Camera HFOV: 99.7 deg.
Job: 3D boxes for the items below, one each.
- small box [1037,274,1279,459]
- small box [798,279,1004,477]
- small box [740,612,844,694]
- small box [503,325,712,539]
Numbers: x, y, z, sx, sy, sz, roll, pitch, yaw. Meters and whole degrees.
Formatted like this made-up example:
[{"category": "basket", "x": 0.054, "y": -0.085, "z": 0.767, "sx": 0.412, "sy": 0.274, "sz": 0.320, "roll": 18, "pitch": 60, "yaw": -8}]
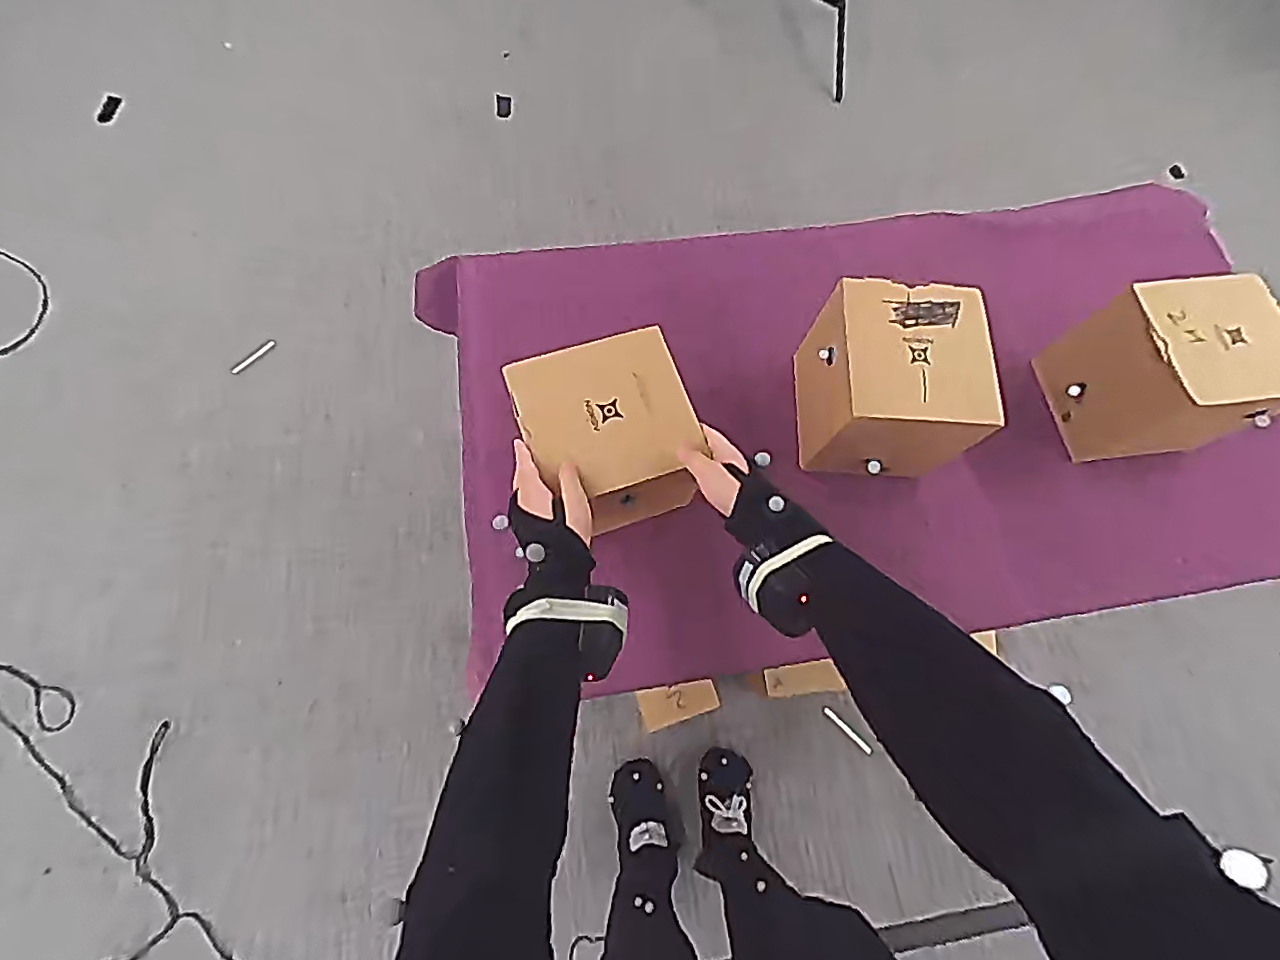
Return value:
[{"category": "small box", "x": 0.670, "y": -0.136, "z": 0.692, "sx": 0.179, "sy": 0.176, "sz": 0.168, "roll": -6, "pitch": 71, "yaw": -5}, {"category": "small box", "x": 0.301, "y": -0.117, "z": 0.666, "sx": 0.168, "sy": 0.176, "sz": 0.179, "roll": 3, "pitch": 72, "yaw": -2}, {"category": "small box", "x": 0.346, "y": 0.402, "z": 1.263, "sx": 0.179, "sy": 0.176, "sz": 0.168, "roll": -3, "pitch": 72, "yaw": -4}, {"category": "small box", "x": -0.039, "y": -0.045, "z": 0.624, "sx": 0.179, "sy": 0.176, "sz": 0.168, "roll": -18, "pitch": 75, "yaw": -11}]
